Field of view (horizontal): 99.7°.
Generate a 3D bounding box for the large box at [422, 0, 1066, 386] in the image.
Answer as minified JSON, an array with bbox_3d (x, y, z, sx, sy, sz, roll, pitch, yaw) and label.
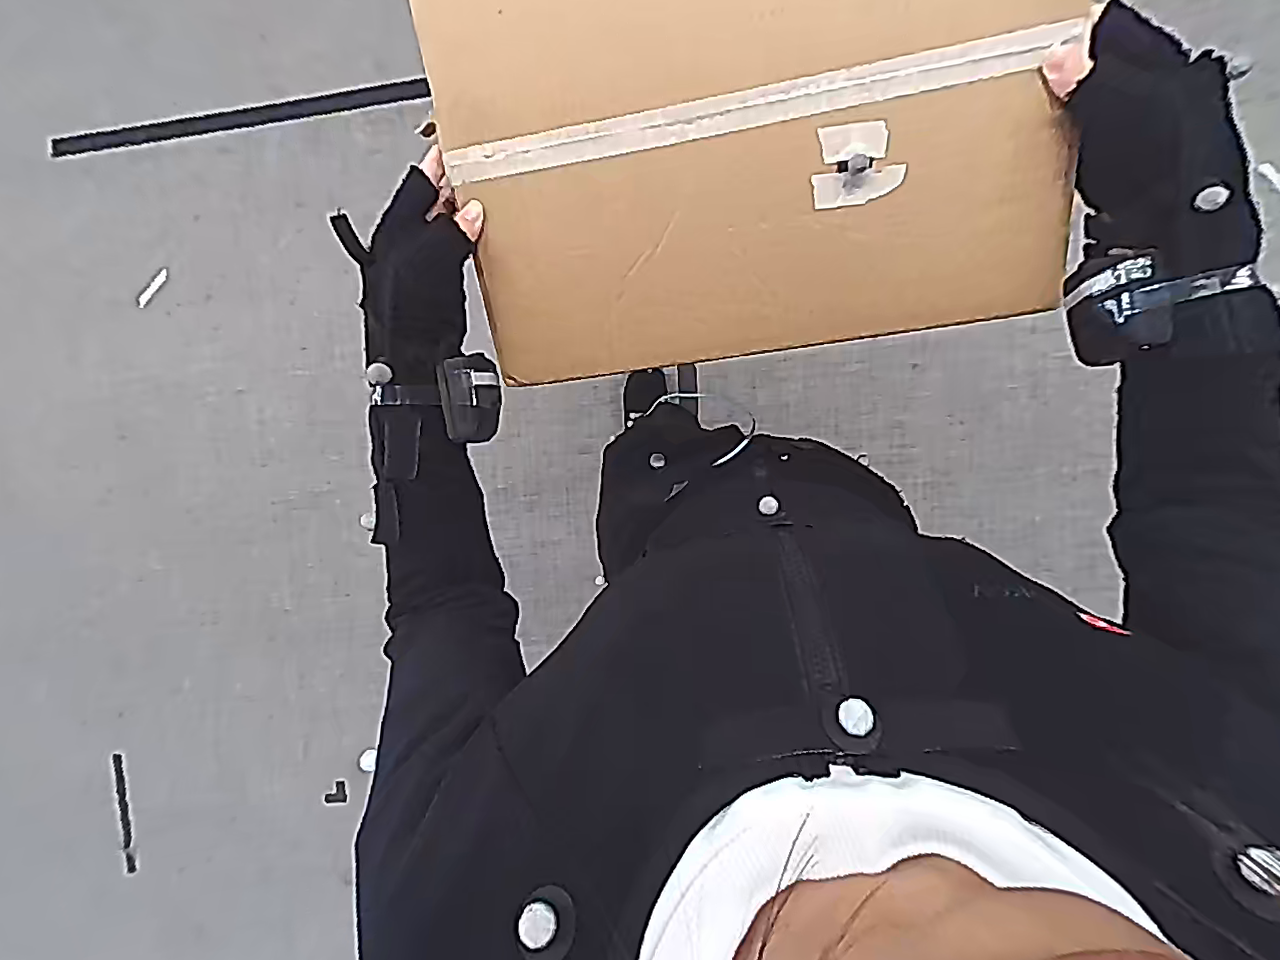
[{"bbox_3d":[0.078,-0.296,0.504,0.408,0.320,0.320,-8,111,6],"label":"large box"}]
